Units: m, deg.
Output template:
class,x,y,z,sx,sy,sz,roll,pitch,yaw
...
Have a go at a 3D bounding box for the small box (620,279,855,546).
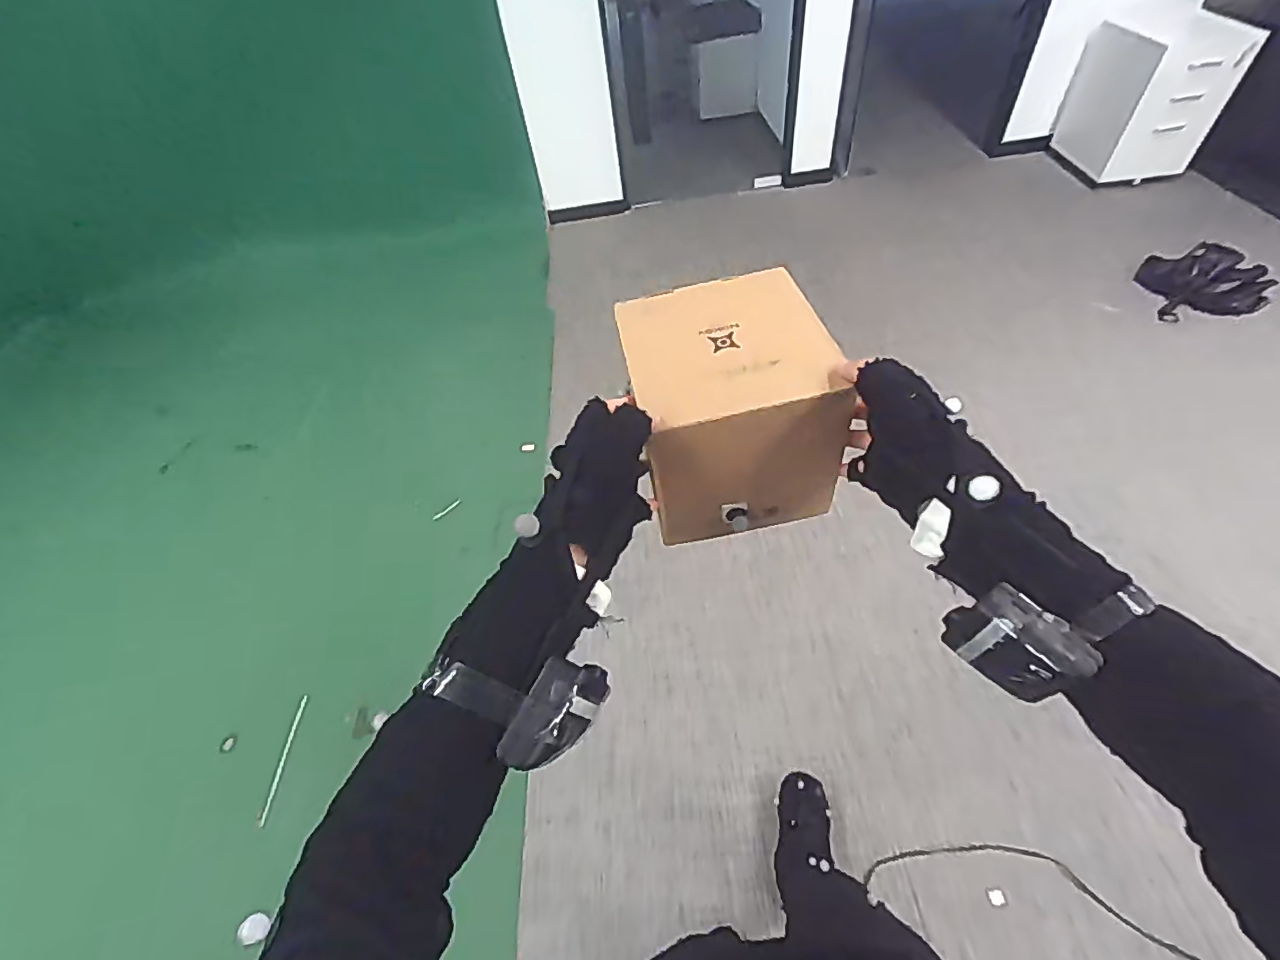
class,x,y,z,sx,sy,sz,roll,pitch,yaw
small box,0.081,-0.063,0.524,0.168,0.176,0.179,-12,50,0
